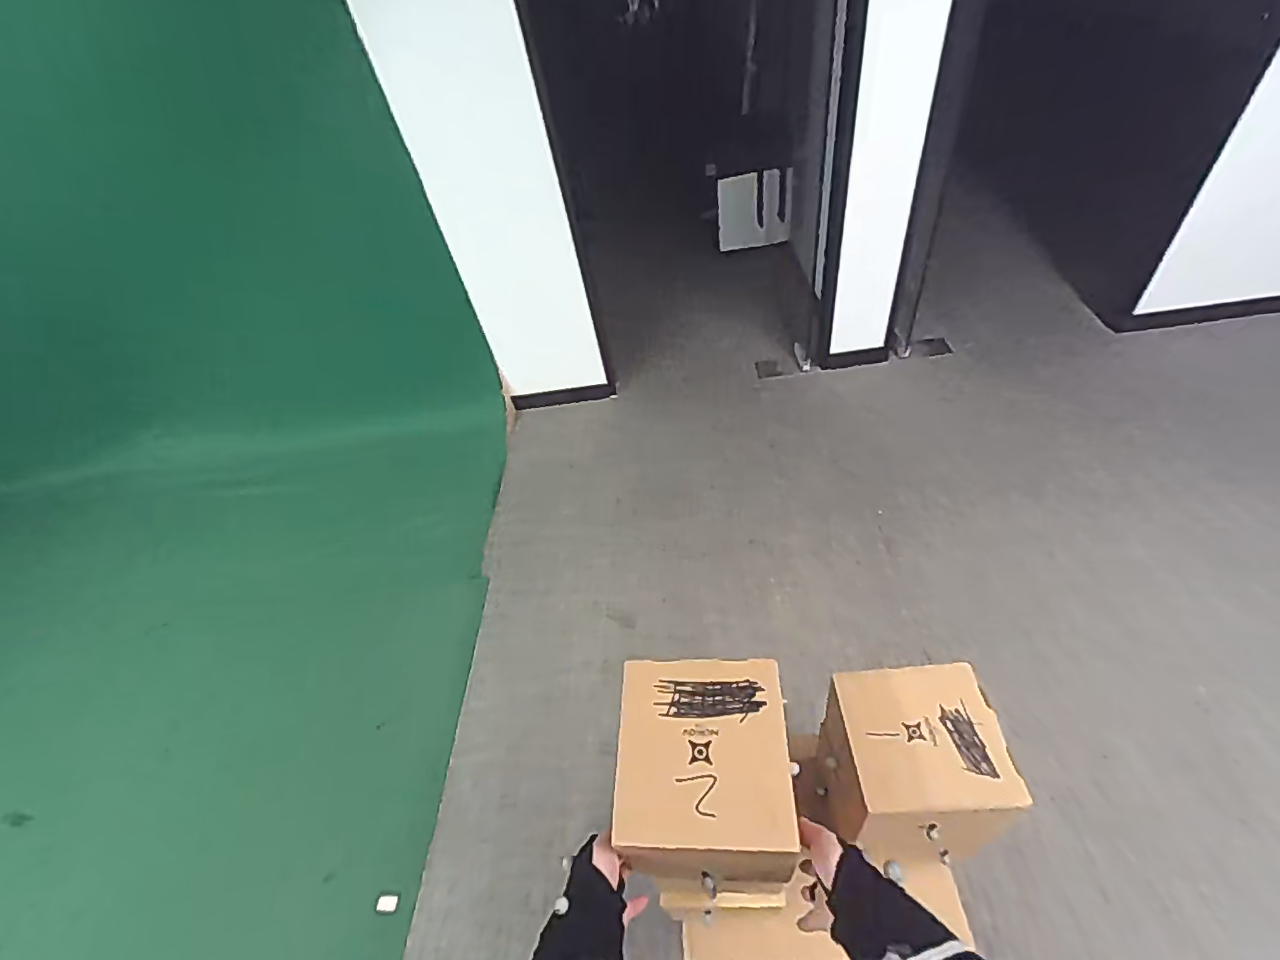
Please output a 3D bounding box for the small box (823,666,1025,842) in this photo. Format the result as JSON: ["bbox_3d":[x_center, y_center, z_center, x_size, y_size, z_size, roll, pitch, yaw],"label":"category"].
[{"bbox_3d":[0.349,0.361,0.708,0.179,0.176,0.168,-7,46,8],"label":"small box"}]

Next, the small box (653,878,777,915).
[{"bbox_3d":[0.112,0.540,0.816,0.168,0.176,0.179,-4,46,7],"label":"small box"}]

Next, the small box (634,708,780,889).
[{"bbox_3d":[0.089,0.418,0.707,0.168,0.176,0.179,-3,46,7],"label":"small box"}]

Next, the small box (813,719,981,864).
[{"bbox_3d":[0.374,0.473,0.826,0.179,0.176,0.168,-8,45,7],"label":"small box"}]
